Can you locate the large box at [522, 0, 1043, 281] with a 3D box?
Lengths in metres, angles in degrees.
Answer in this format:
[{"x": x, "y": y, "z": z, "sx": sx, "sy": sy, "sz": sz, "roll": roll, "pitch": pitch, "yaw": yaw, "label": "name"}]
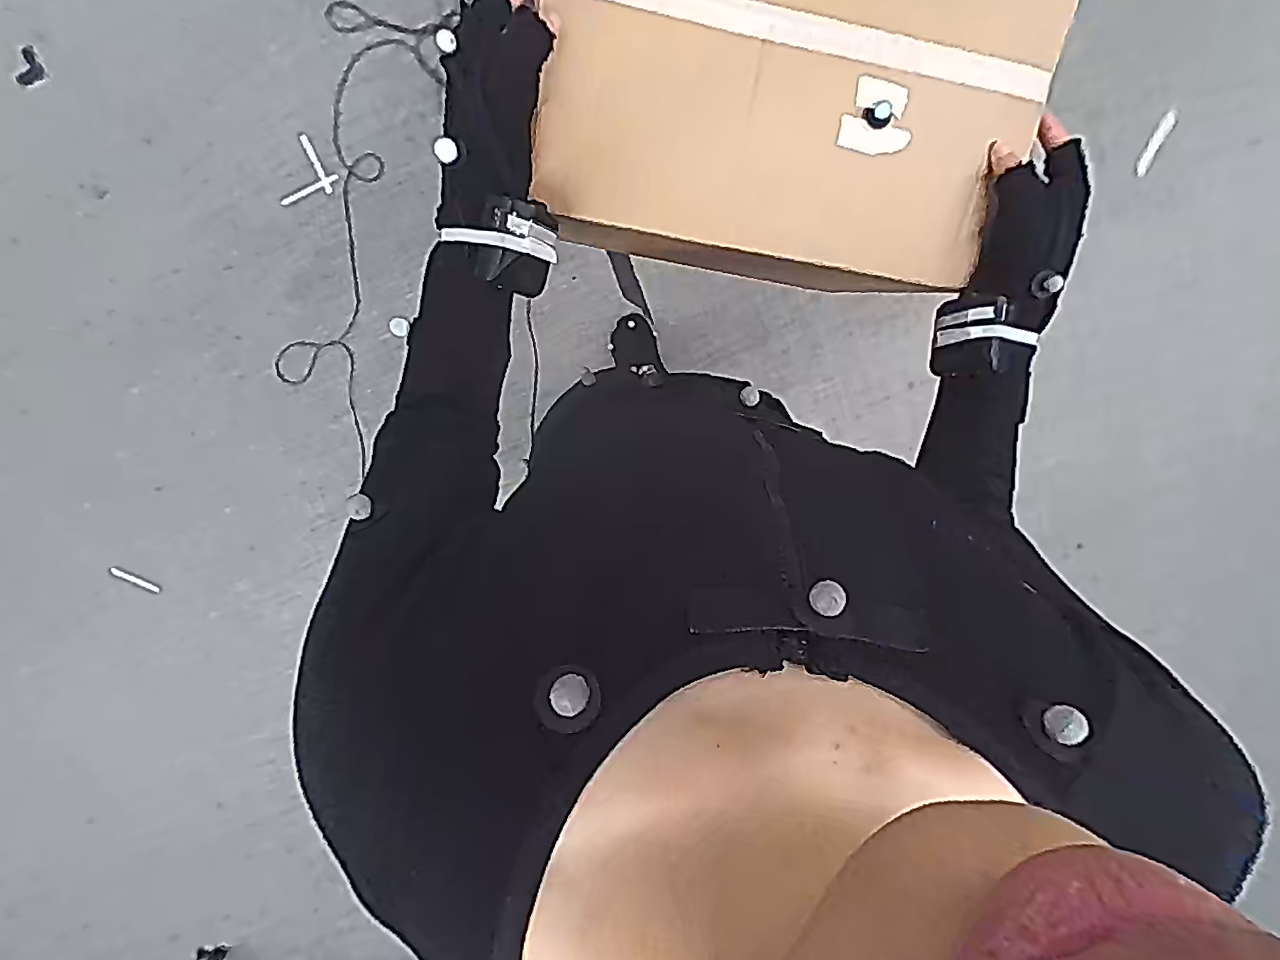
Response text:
[{"x": 0.103, "y": -0.400, "z": 0.564, "sx": 0.408, "sy": 0.320, "sz": 0.320, "roll": 7, "pitch": 109, "yaw": -7, "label": "large box"}]
